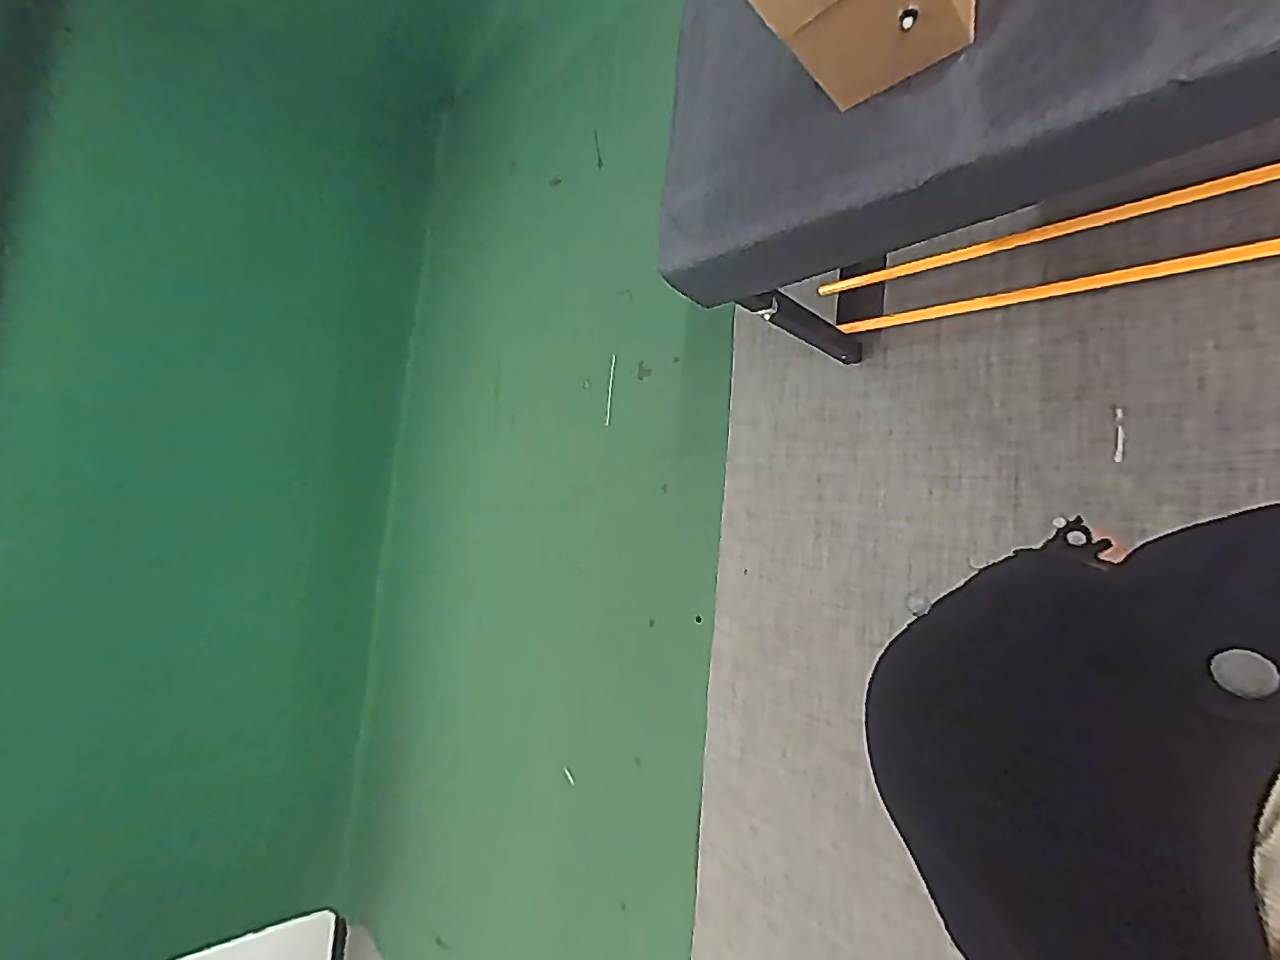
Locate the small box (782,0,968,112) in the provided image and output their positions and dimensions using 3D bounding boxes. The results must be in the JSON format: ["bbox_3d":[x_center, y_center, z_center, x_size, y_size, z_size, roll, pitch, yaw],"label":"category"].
[{"bbox_3d":[0.307,-0.633,0.695,0.179,0.176,0.168,-2,80,48],"label":"small box"}]

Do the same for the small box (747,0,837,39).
[{"bbox_3d":[0.186,-0.651,0.584,0.179,0.176,0.168,-6,77,46],"label":"small box"}]
